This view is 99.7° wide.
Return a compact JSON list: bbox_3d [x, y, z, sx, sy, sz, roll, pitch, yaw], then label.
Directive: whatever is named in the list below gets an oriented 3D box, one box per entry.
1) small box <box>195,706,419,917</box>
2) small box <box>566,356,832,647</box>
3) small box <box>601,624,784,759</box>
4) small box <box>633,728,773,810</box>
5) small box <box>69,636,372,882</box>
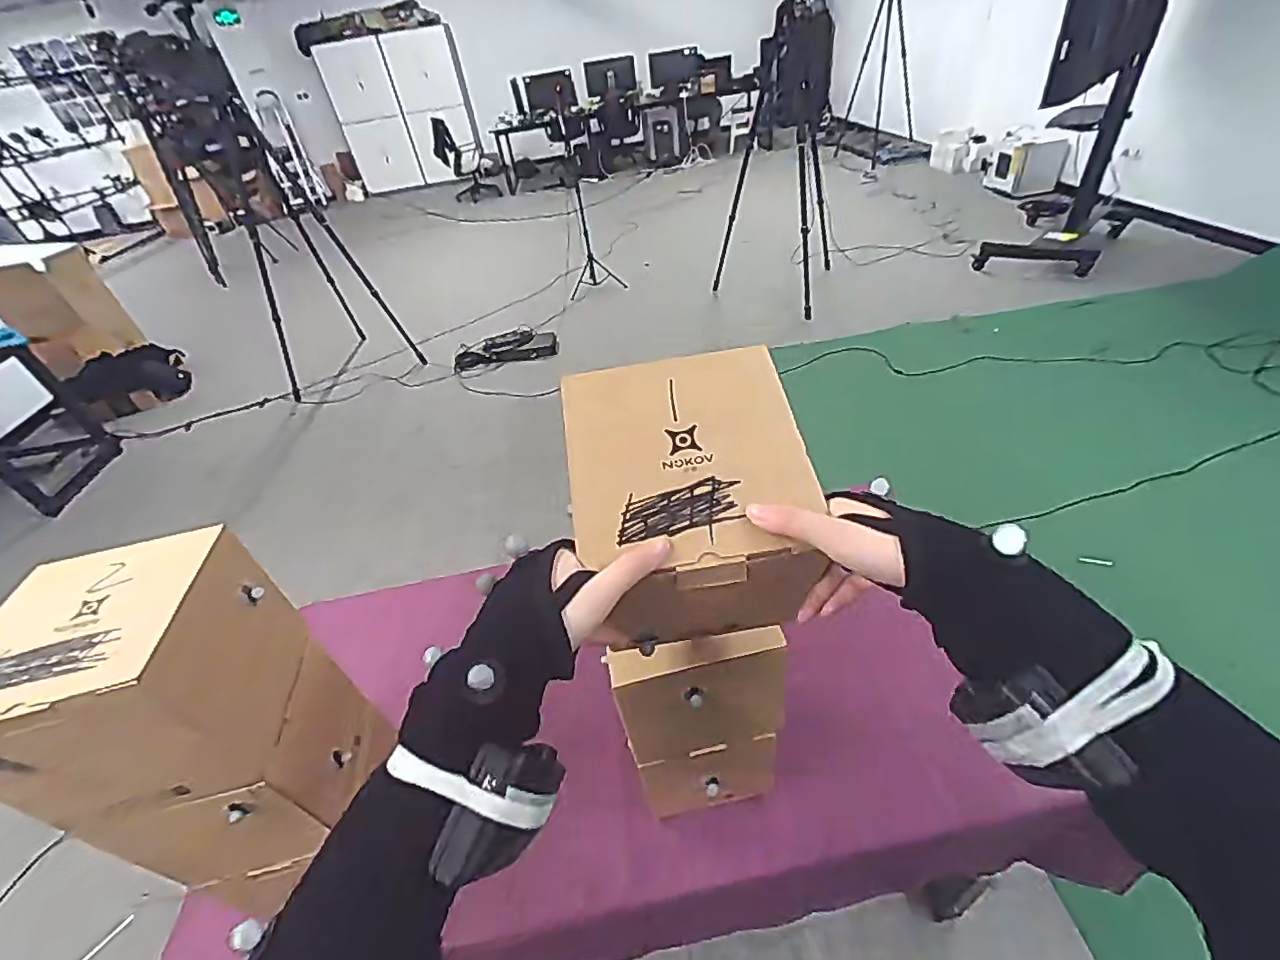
[{"bbox_3d":[-0.402,0.429,0.696,0.168,0.176,0.179,-12,39,-4],"label":"small box"},{"bbox_3d":[0.038,0.028,0.450,0.168,0.176,0.179,-9,56,-1],"label":"small box"},{"bbox_3d":[0.055,0.194,0.624,0.179,0.176,0.168,-12,40,-3],"label":"small box"},{"bbox_3d":[0.074,0.319,0.730,0.168,0.176,0.179,-11,40,-2],"label":"small box"},{"bbox_3d":[-0.427,0.306,0.594,0.179,0.176,0.168,-12,40,-6],"label":"small box"}]
